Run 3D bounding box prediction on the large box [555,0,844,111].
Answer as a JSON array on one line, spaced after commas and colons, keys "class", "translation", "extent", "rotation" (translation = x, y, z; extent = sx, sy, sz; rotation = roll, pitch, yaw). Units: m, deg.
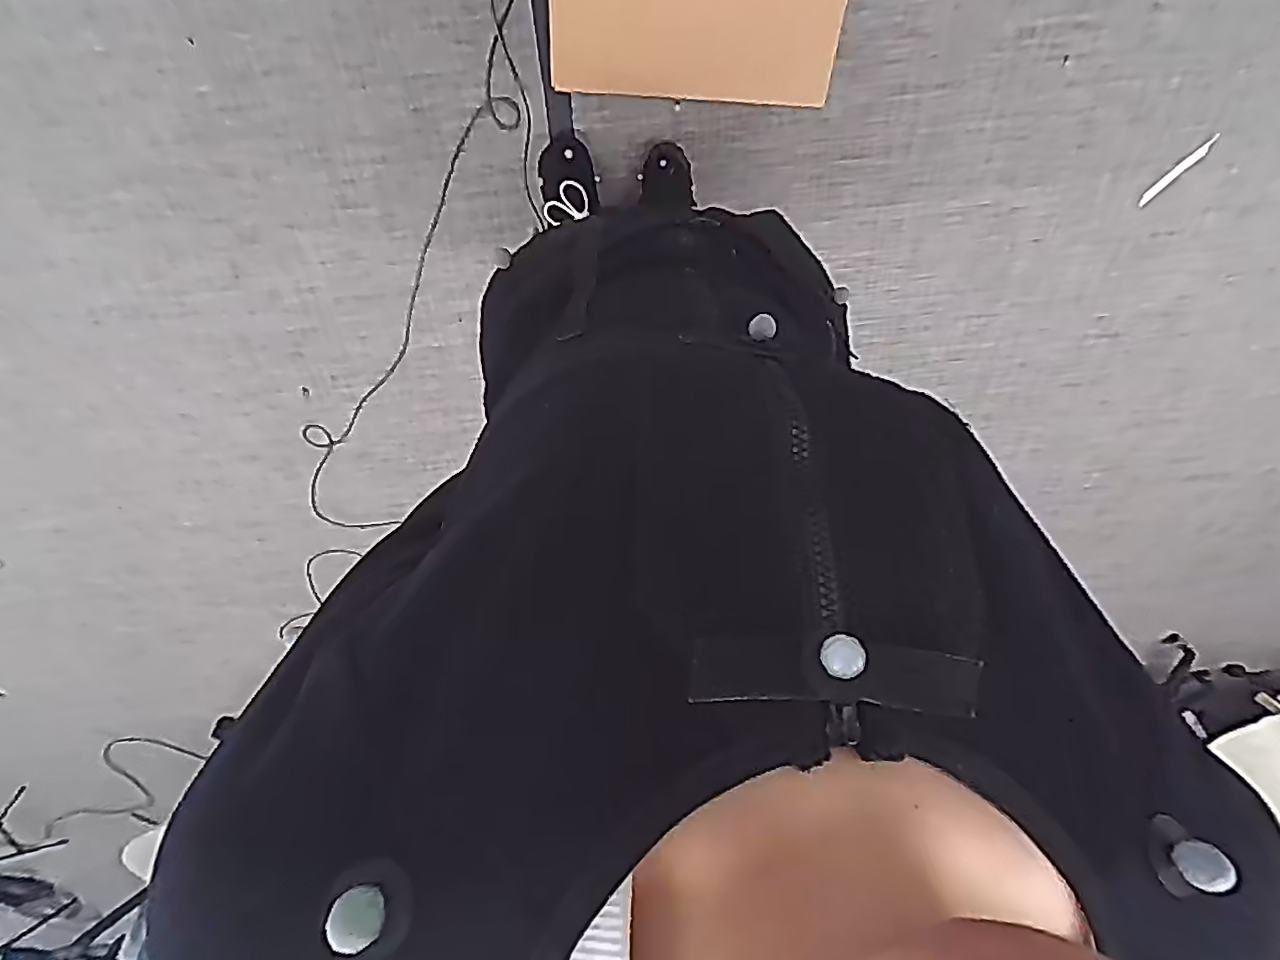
[{"class": "large box", "translation": [0.073, -0.767, 0.834], "extent": [0.408, 0.320, 0.320], "rotation": [0, 126, -5]}]
